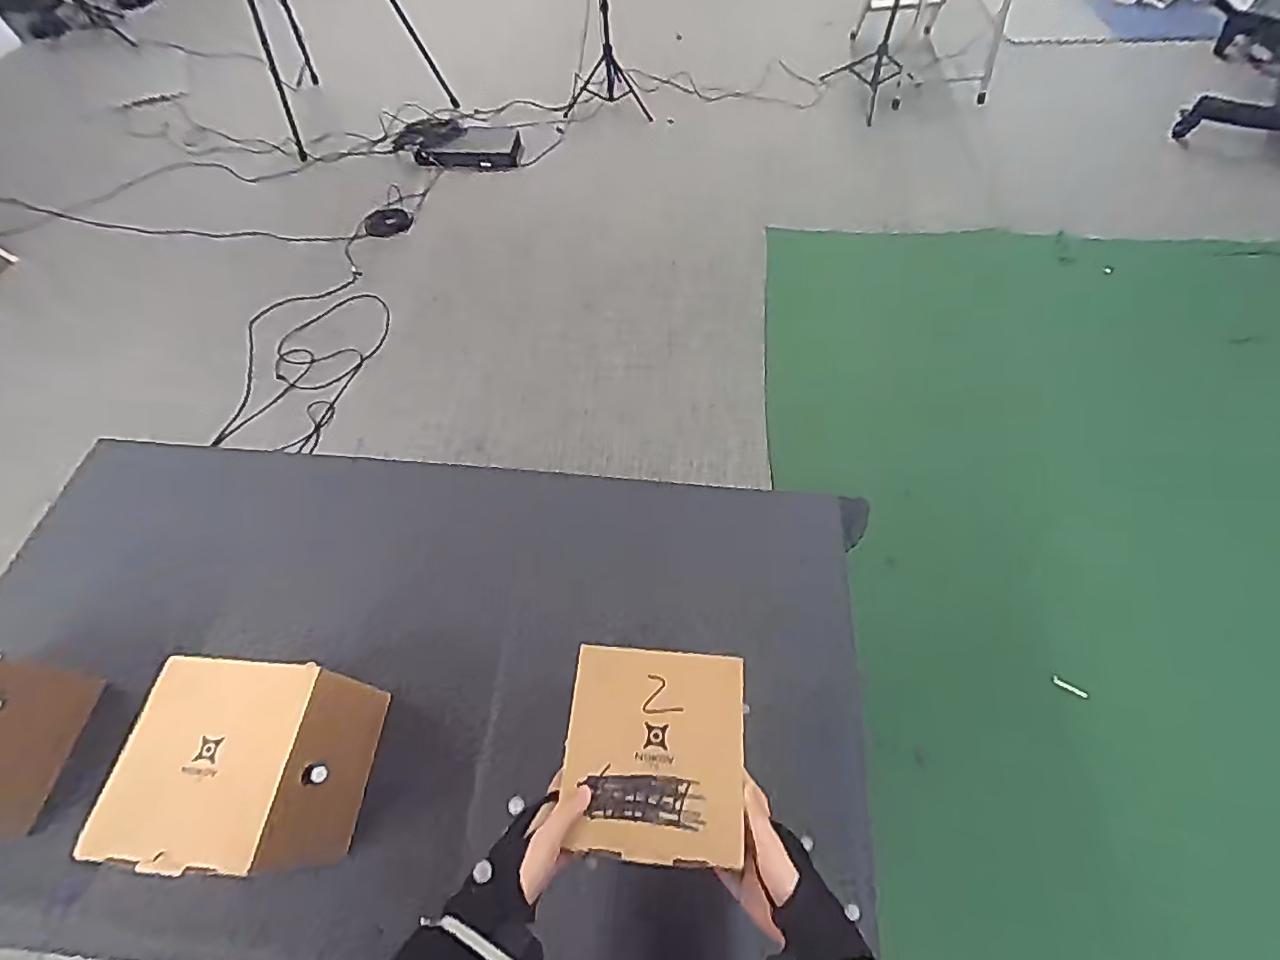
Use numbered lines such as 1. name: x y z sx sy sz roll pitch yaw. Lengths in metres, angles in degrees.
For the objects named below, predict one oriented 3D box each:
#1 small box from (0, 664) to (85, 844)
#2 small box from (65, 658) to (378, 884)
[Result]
1. small box: -0.781 0.290 0.585 0.168 0.176 0.179 3 59 3
2. small box: -0.407 0.302 0.571 0.168 0.176 0.179 3 60 3
